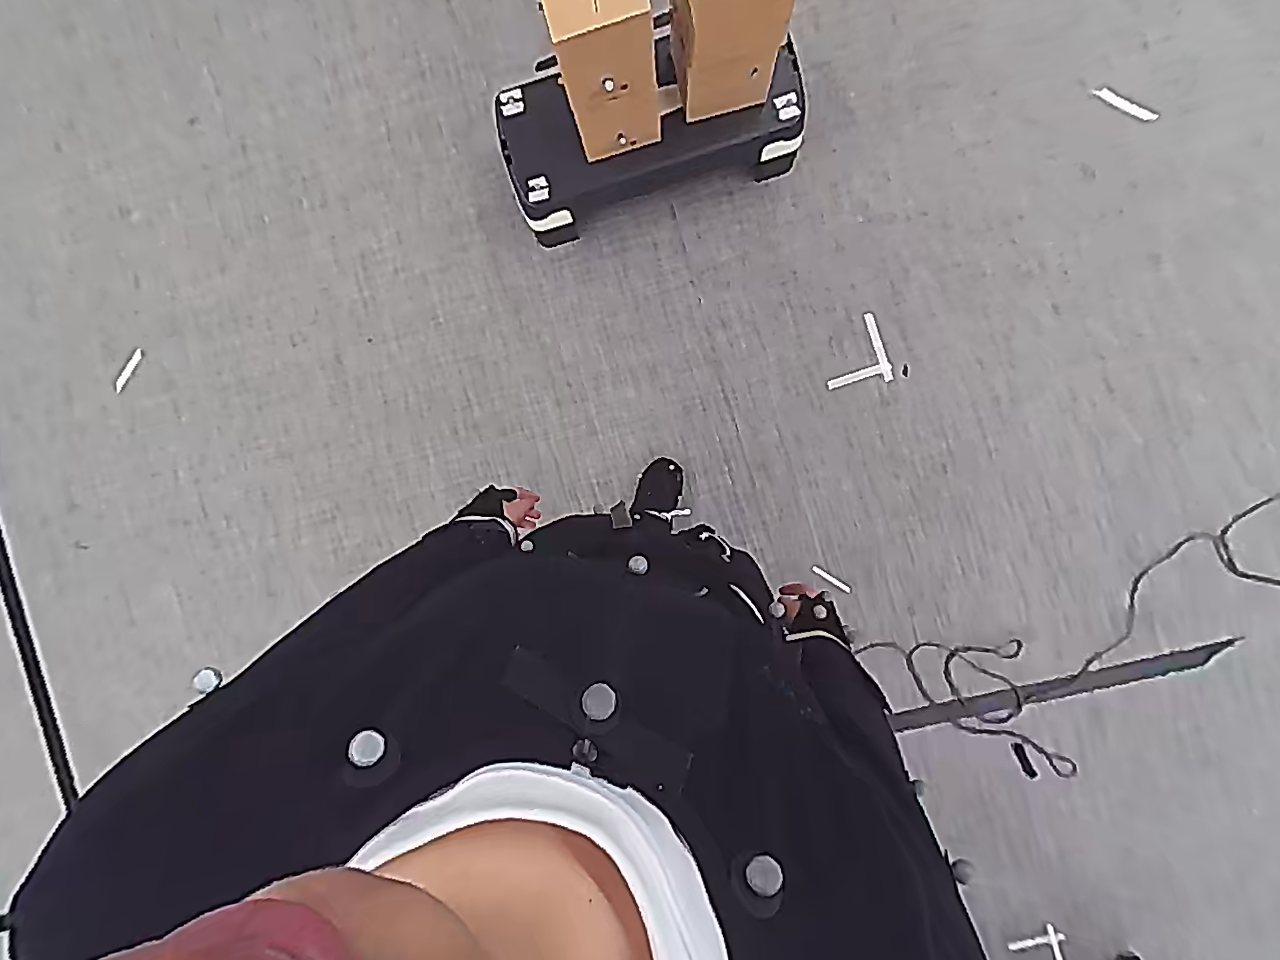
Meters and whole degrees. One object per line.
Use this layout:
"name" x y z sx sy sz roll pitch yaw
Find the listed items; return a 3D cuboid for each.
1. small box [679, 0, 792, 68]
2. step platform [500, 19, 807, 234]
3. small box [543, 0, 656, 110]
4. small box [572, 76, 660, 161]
"small box" 0.158 -0.847 0.911 0.179 0.176 0.168 -13 90 4
"step platform" 0.029 -0.834 1.256 0.684 0.204 0.286 -16 90 5
"small box" -0.073 -0.790 0.926 0.168 0.176 0.179 -15 90 4
"small box" -0.059 -0.791 1.090 0.168 0.176 0.179 -14 90 4
